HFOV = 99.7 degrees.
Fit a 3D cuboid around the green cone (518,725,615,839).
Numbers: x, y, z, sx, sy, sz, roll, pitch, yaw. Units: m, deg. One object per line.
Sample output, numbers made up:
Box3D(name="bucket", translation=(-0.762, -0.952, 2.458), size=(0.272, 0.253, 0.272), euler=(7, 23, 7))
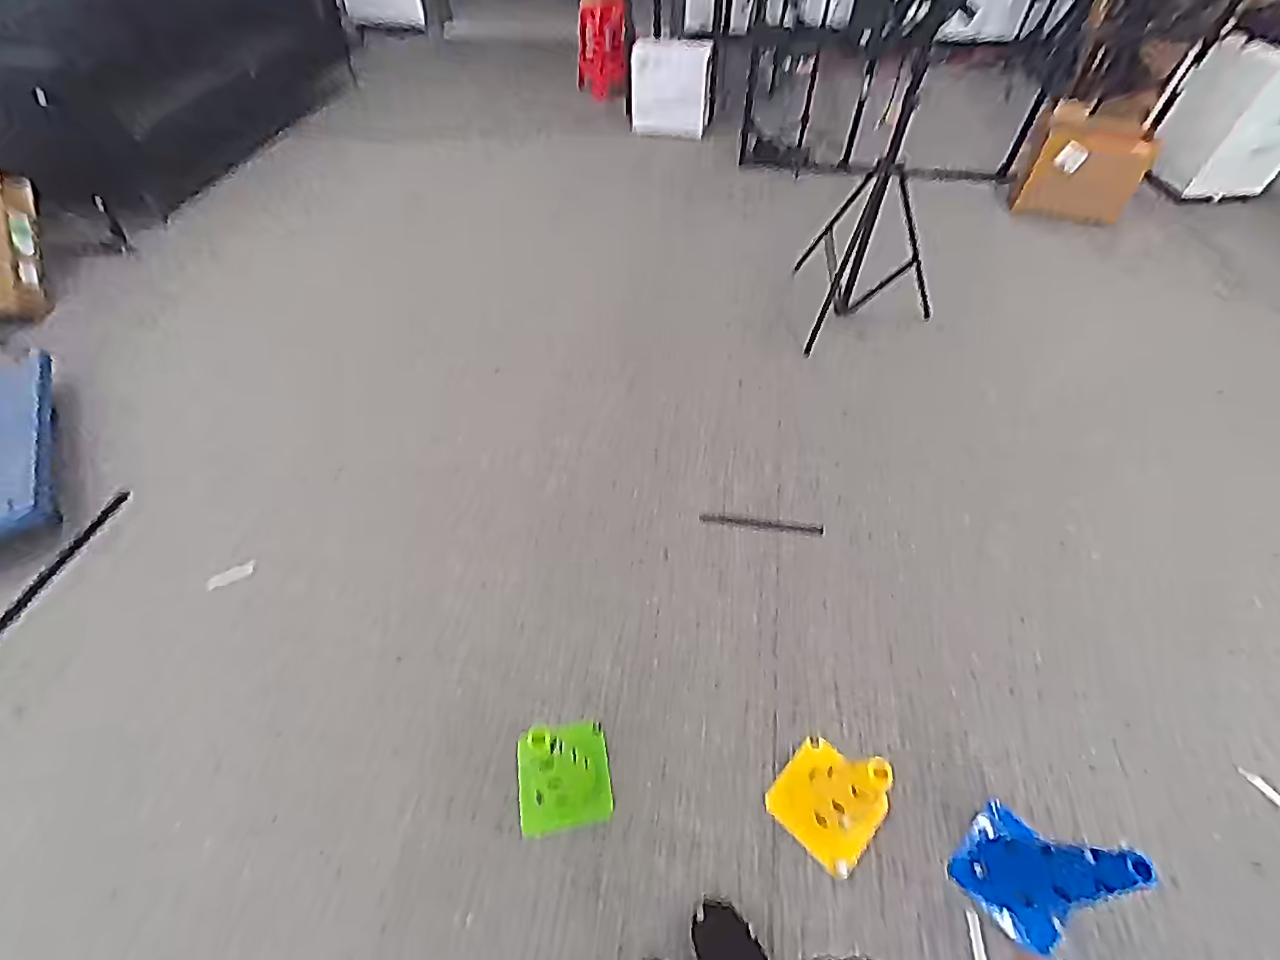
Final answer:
Box3D(name="green cone", translation=(-0.171, 0.560, 1.064), size=(0.200, 0.368, 0.202), euler=(-10, 53, -6))
